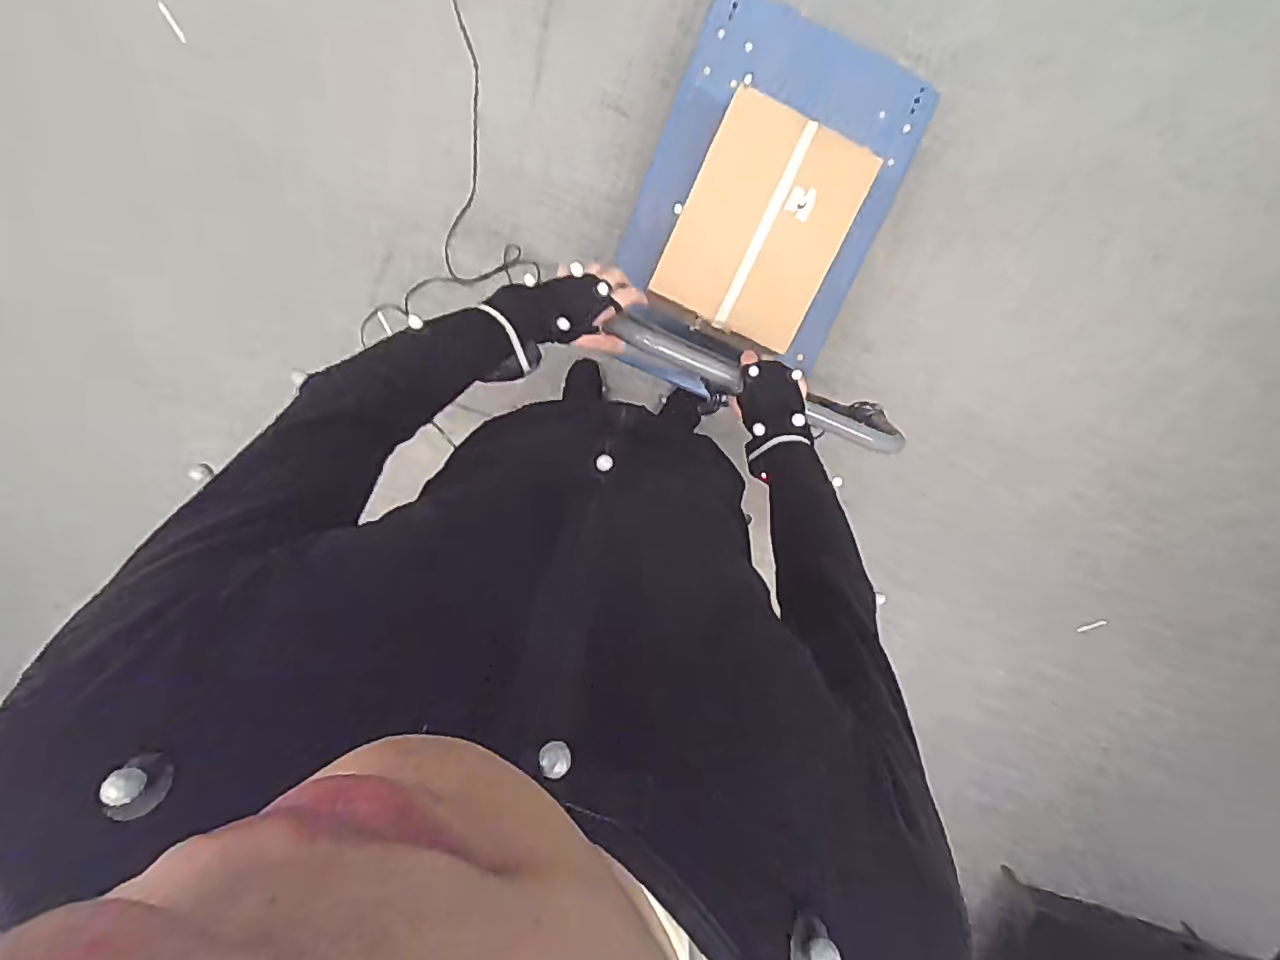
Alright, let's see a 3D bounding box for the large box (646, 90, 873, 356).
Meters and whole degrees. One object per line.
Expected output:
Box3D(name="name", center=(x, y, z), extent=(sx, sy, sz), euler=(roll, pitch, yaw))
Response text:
Box3D(name="large box", center=(0.229, -0.524, 1.206), extent=(0.320, 0.320, 0.408), euler=(24, 100, -8))
